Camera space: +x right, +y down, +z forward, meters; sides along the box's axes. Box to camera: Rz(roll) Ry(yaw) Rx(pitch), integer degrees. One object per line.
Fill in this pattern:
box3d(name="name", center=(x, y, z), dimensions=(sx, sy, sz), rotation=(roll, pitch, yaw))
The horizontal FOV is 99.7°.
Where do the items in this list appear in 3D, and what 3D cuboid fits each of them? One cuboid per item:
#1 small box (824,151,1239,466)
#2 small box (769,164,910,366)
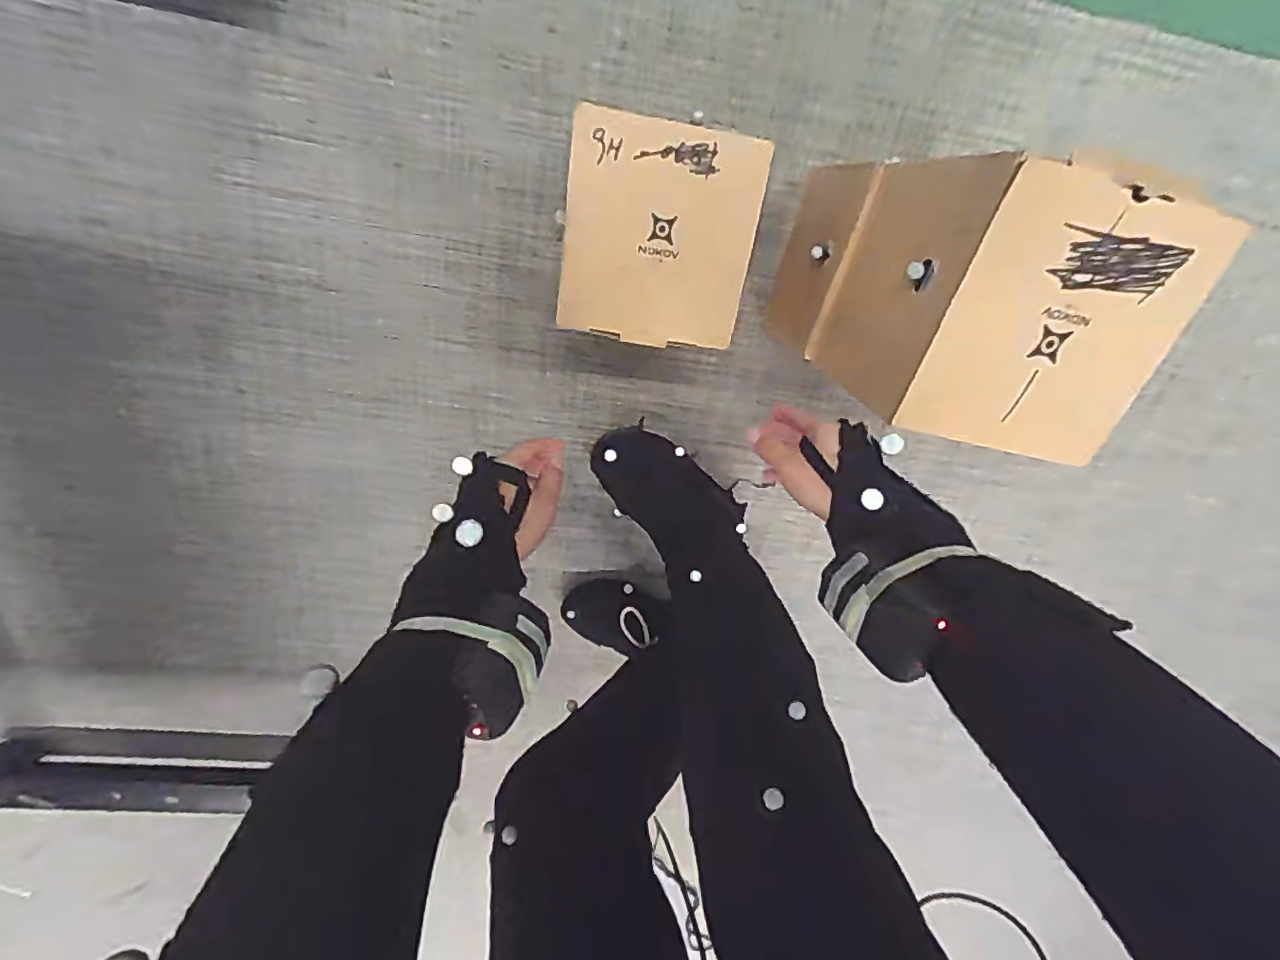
box3d(name="small box", center=(0.272, -0.137, 0.431), dimensions=(0.168, 0.176, 0.179), rotation=(11, 117, -9))
box3d(name="small box", center=(0.254, -0.214, 0.575), dimensions=(0.168, 0.176, 0.179), rotation=(11, 117, -9))
